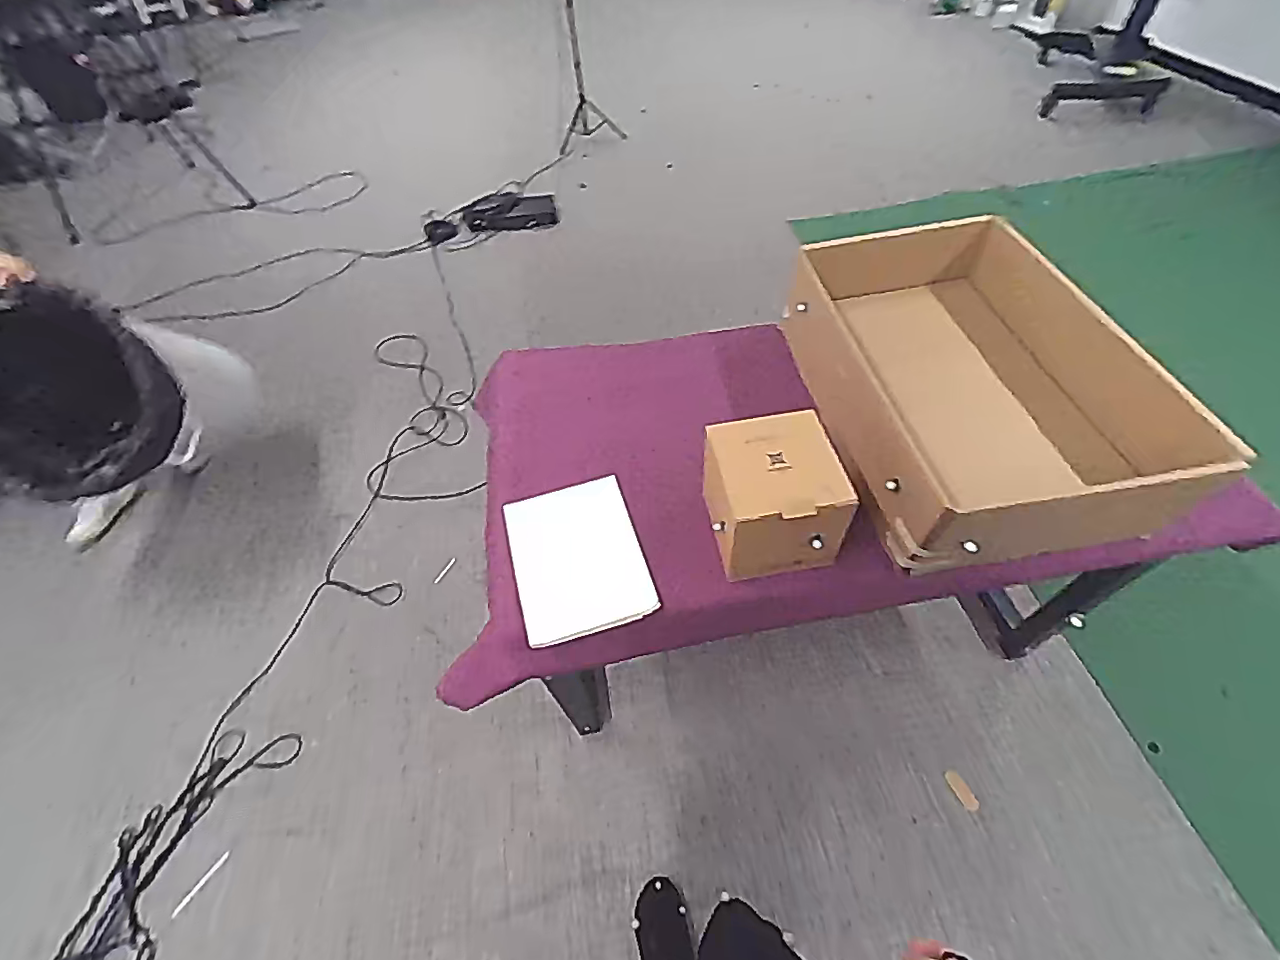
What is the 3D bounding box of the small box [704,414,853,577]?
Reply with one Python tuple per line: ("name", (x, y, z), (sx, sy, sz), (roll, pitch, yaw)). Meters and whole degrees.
("small box", (0.193, 0.031, 0.810), (0.168, 0.176, 0.179), (-9, 51, -2))
